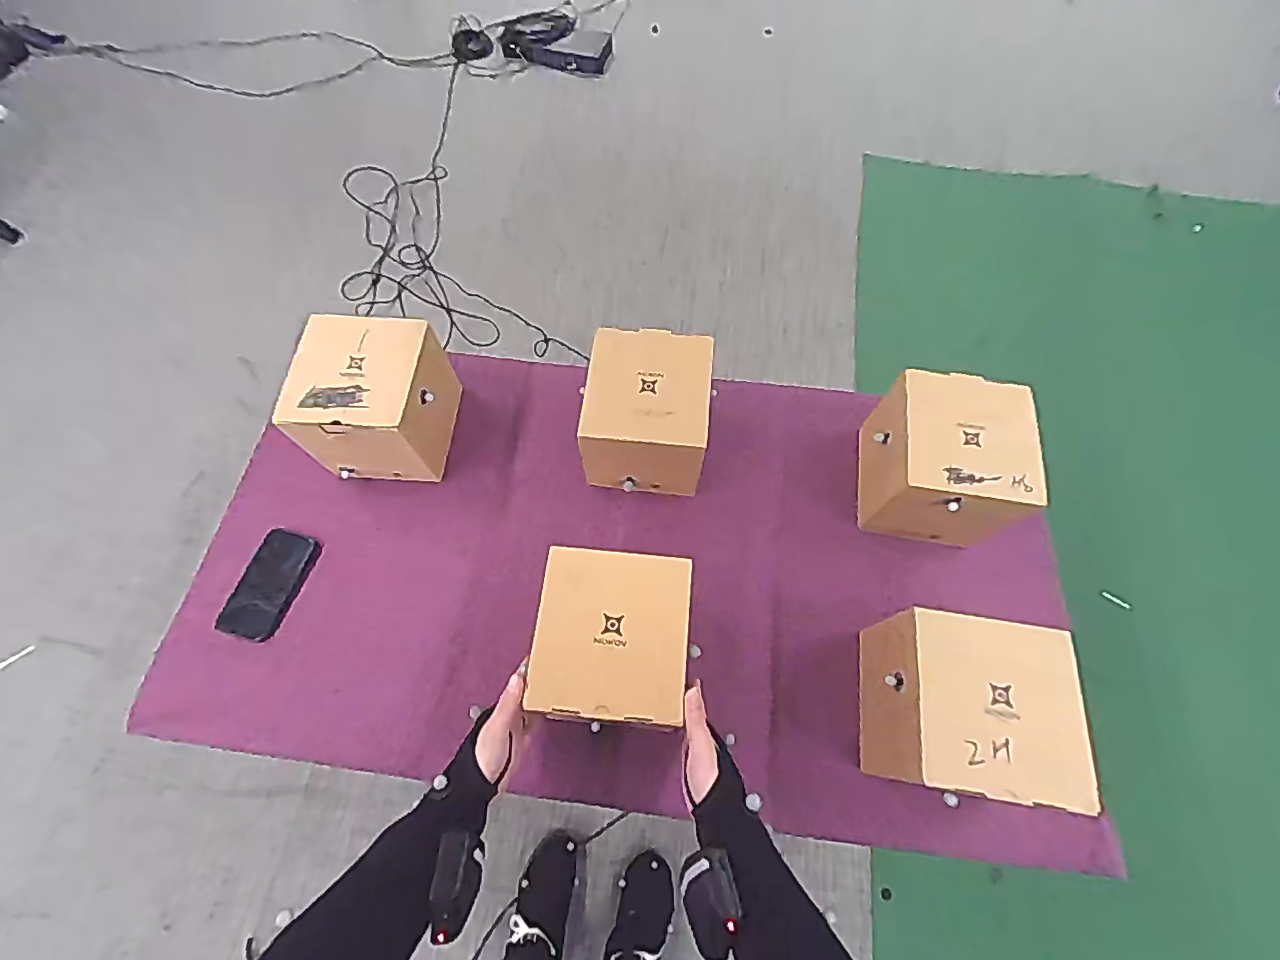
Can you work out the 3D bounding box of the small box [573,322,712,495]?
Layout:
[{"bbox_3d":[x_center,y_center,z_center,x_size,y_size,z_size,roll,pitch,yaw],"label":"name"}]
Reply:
[{"bbox_3d":[0.006,-0.097,0.776,0.168,0.176,0.179,6,66,3],"label":"small box"}]

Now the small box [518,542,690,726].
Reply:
[{"bbox_3d":[-0.035,0.189,0.644,0.168,0.176,0.179,5,65,2],"label":"small box"}]

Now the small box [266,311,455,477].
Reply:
[{"bbox_3d":[-0.383,-0.116,0.780,0.168,0.176,0.179,3,65,1],"label":"small box"}]

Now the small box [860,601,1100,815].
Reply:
[{"bbox_3d":[0.359,0.254,0.612,0.168,0.176,0.179,8,66,5],"label":"small box"}]

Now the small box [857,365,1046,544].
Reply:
[{"bbox_3d":[0.411,-0.030,0.746,0.168,0.176,0.179,9,65,5],"label":"small box"}]
